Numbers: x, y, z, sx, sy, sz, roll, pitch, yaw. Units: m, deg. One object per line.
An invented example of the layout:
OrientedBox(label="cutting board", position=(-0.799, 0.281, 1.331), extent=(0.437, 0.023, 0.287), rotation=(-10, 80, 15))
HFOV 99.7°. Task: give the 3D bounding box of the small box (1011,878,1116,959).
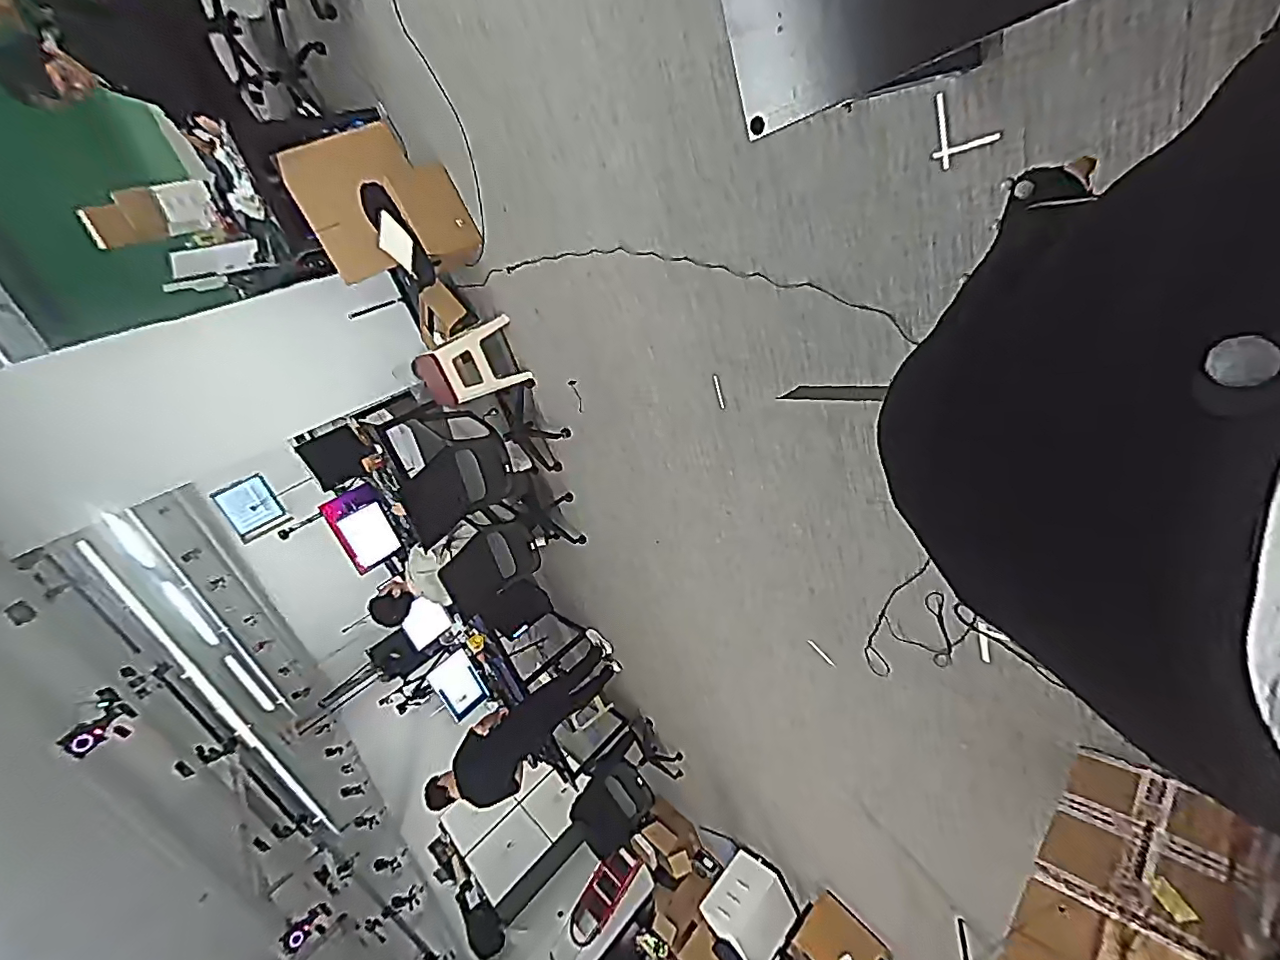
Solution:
OrientedBox(label="small box", position=(1.137, 1.224, 1.451), extent=(0.179, 0.176, 0.168), rotation=(1, 117, 54))

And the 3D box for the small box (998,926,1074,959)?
OrientedBox(label="small box", position=(1.016, 1.292, 1.360), extent=(0.179, 0.176, 0.168), rotation=(1, 116, 54))
